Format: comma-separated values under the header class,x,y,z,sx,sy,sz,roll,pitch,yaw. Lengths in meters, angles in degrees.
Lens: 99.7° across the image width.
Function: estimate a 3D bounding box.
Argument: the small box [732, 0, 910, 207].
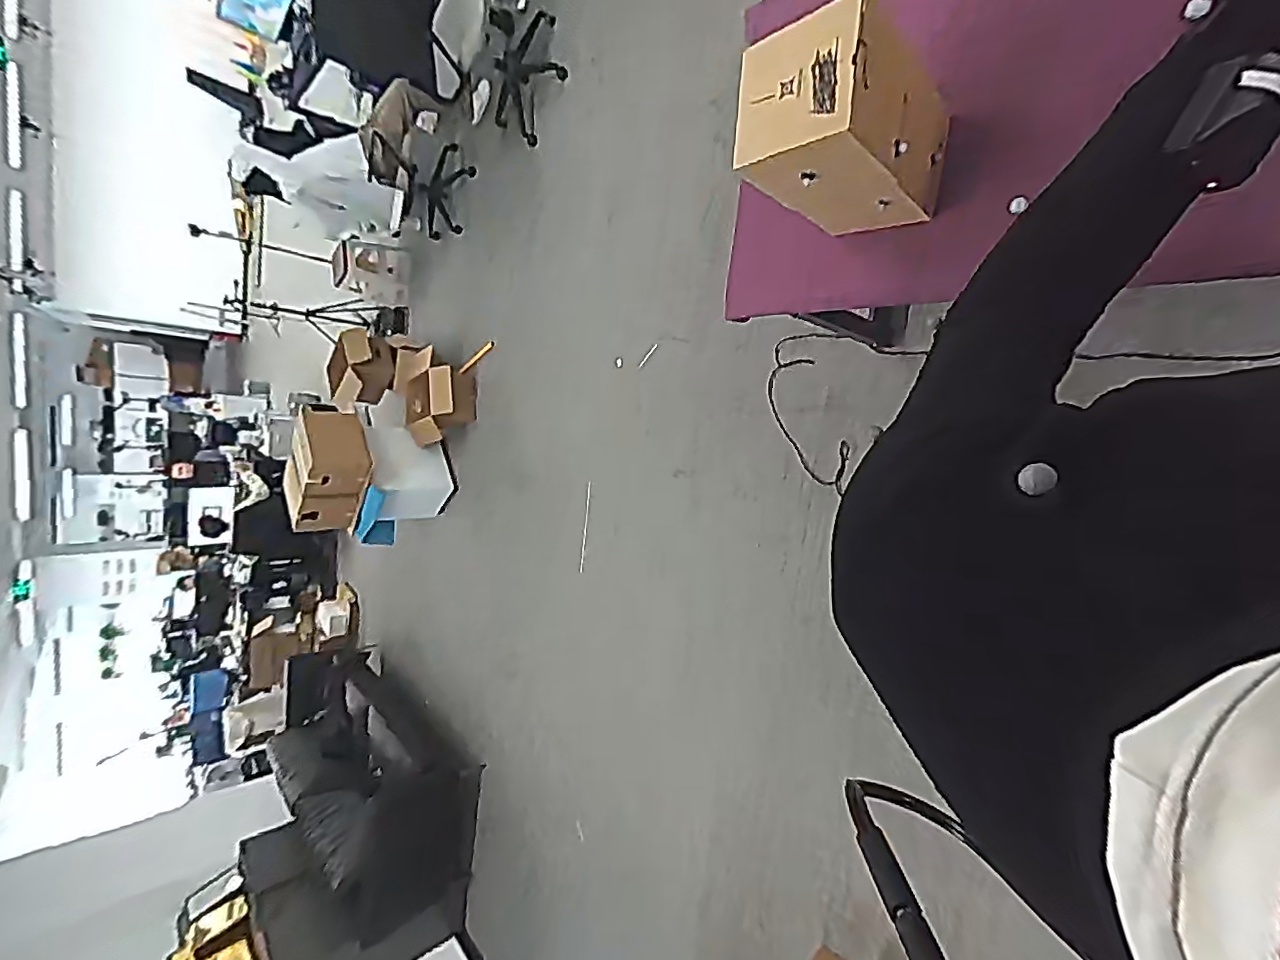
class,x,y,z,sx,sy,sz,roll,pitch,yaw
small box,0.253,-0.508,0.753,0.179,0.176,0.168,9,97,45
